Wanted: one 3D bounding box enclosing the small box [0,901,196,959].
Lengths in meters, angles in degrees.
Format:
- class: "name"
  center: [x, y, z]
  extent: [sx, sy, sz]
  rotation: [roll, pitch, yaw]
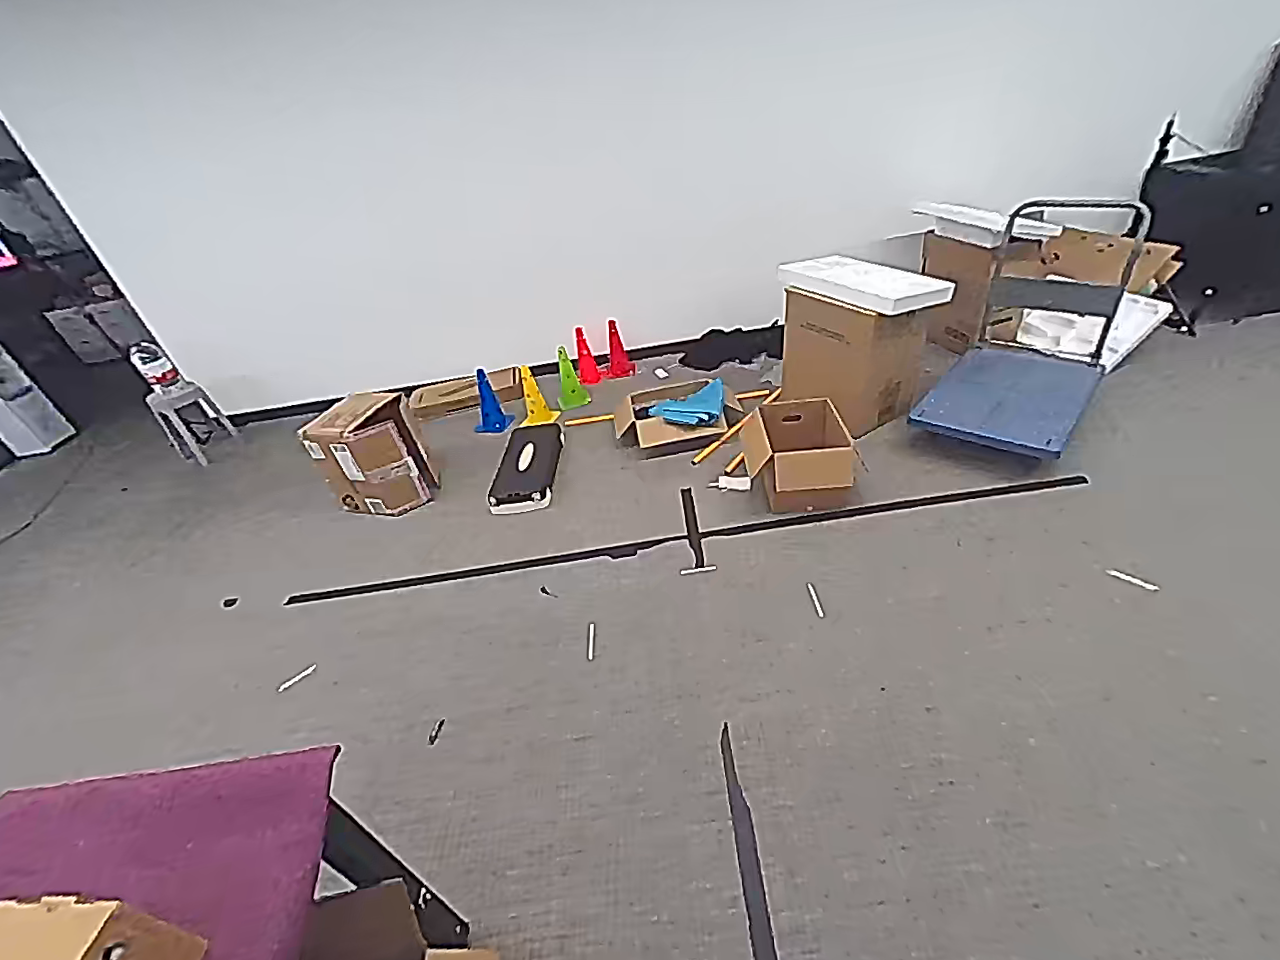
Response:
- class: "small box"
  center: [-0.647, 0.589, 0.584]
  extent: [0.168, 0.176, 0.179]
  rotation: [-6, 35, 7]
